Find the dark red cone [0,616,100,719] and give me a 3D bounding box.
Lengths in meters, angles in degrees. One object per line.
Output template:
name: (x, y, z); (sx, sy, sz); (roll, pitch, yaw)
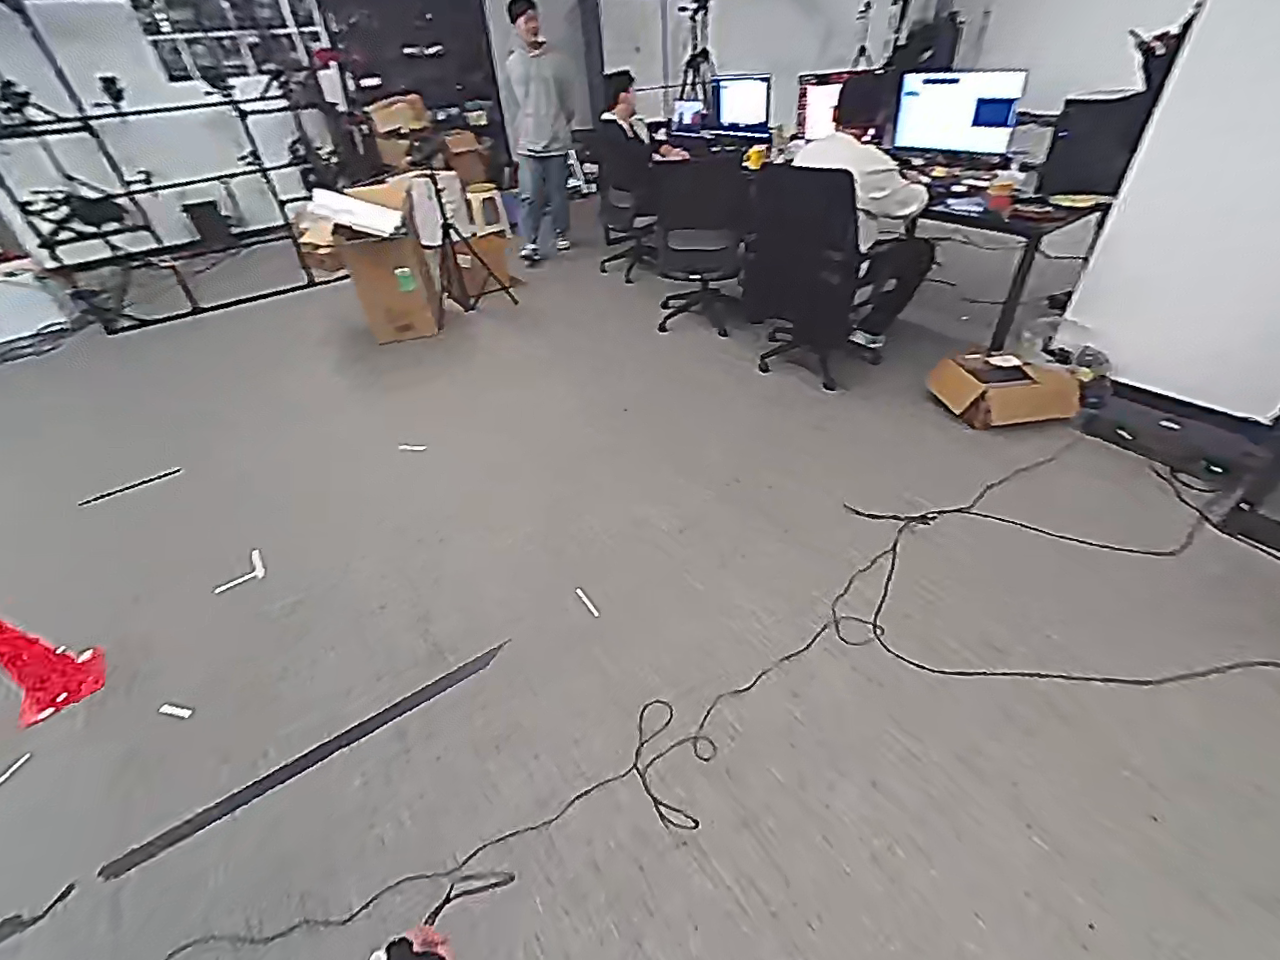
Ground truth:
dark red cone: (-1.769, 0.474, 1.529); (0.202, 0.394, 0.201); (-32, 47, -30)
